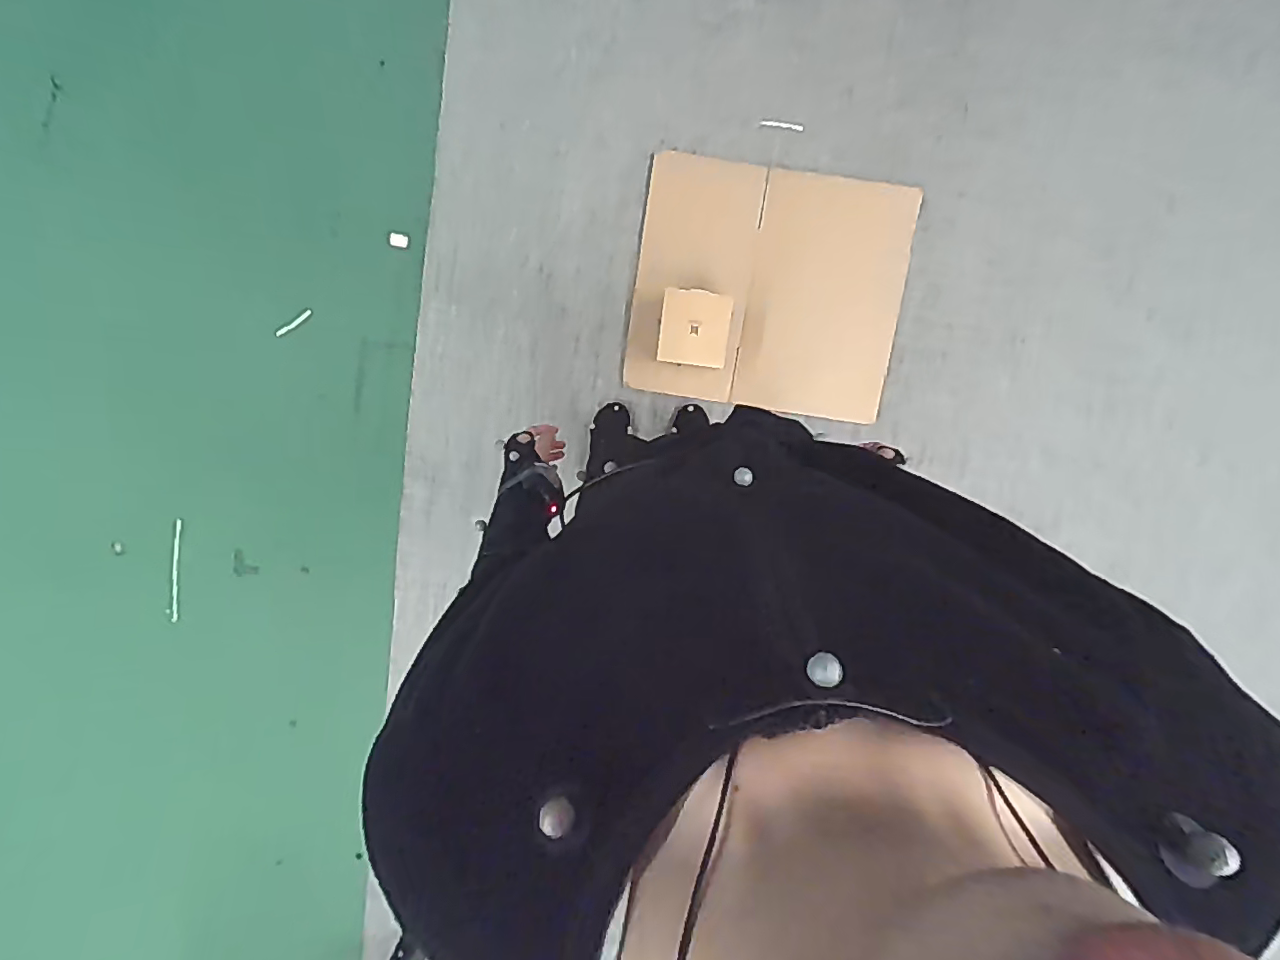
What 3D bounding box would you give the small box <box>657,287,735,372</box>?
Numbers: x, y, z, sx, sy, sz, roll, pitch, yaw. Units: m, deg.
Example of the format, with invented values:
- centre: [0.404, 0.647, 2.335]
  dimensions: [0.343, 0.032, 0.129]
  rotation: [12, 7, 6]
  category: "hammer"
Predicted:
- centre: [0.135, -0.369, 1.356]
  dimensions: [0.168, 0.176, 0.179]
  rotation: [7, 98, 1]
  category: "small box"
